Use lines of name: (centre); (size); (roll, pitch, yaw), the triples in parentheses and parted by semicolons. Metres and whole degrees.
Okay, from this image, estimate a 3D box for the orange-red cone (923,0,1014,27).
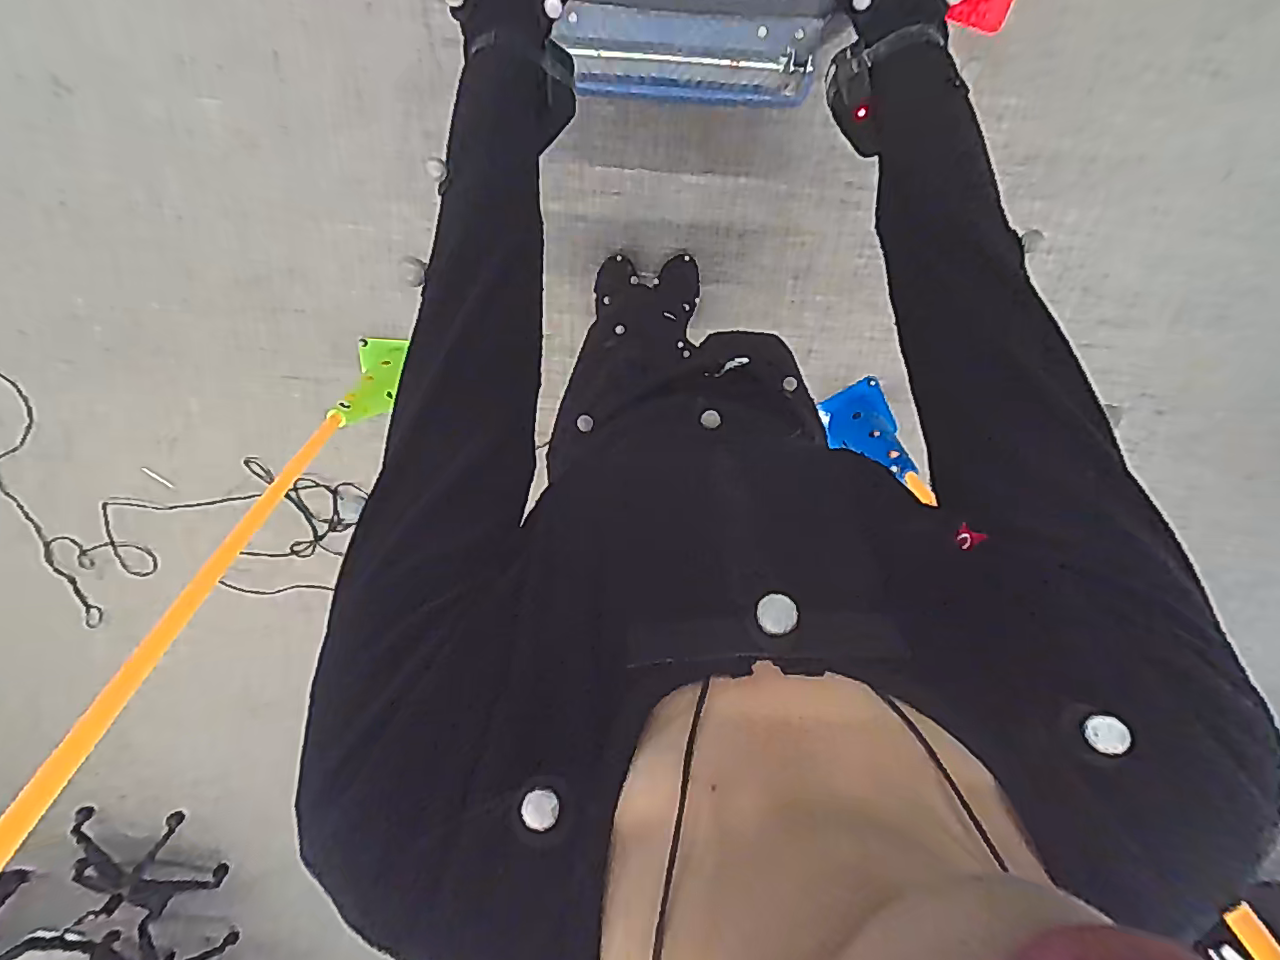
orange-red cone: (0.685, -0.978, 0.929); (0.198, 0.360, 0.199); (15, 115, -6)
